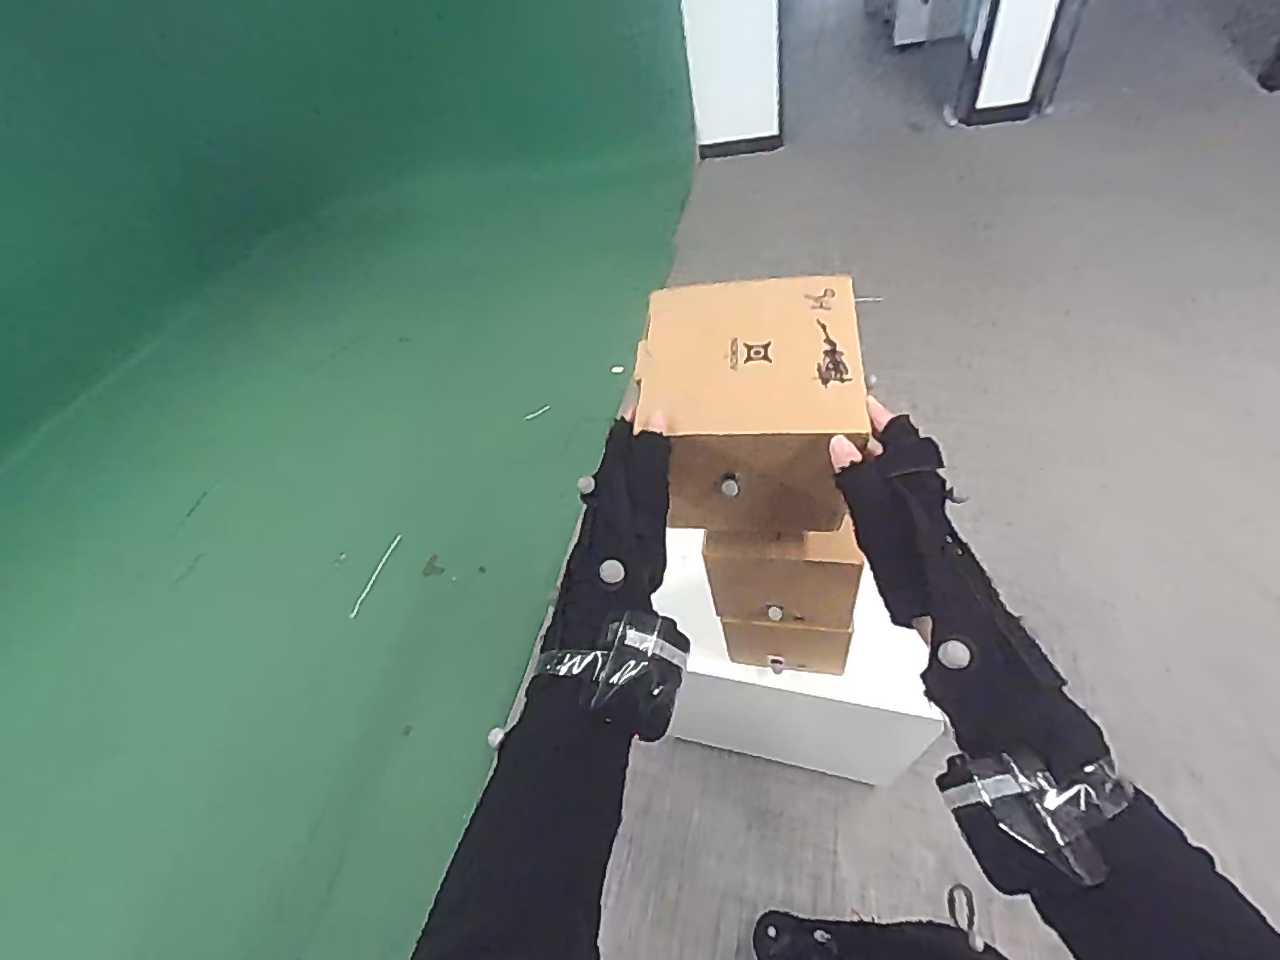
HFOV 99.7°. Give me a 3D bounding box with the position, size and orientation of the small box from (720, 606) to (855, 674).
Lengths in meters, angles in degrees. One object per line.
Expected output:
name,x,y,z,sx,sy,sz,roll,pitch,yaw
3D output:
small box,0.214,0.160,0.782,0.168,0.176,0.179,0,54,17

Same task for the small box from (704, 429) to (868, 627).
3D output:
small box,0.175,0.058,0.659,0.168,0.176,0.179,-1,51,16

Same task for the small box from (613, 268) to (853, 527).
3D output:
small box,0.088,-0.064,0.496,0.179,0.176,0.168,-1,61,13
